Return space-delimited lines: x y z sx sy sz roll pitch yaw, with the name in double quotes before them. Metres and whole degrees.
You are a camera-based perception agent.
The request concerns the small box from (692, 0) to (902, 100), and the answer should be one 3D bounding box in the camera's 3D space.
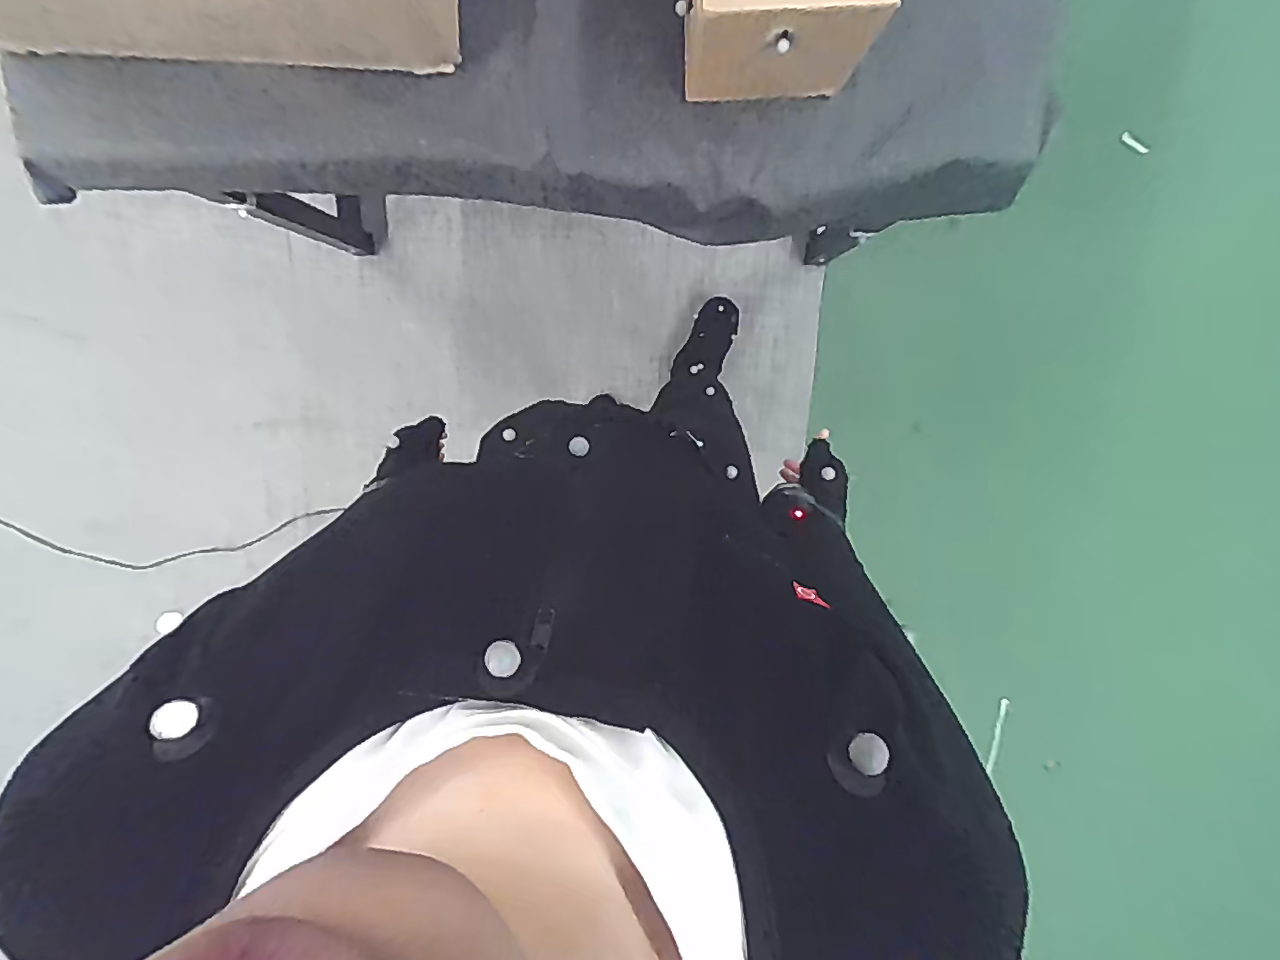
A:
"small box" 0.144 -0.509 0.539 0.179 0.176 0.168 -2 103 0
